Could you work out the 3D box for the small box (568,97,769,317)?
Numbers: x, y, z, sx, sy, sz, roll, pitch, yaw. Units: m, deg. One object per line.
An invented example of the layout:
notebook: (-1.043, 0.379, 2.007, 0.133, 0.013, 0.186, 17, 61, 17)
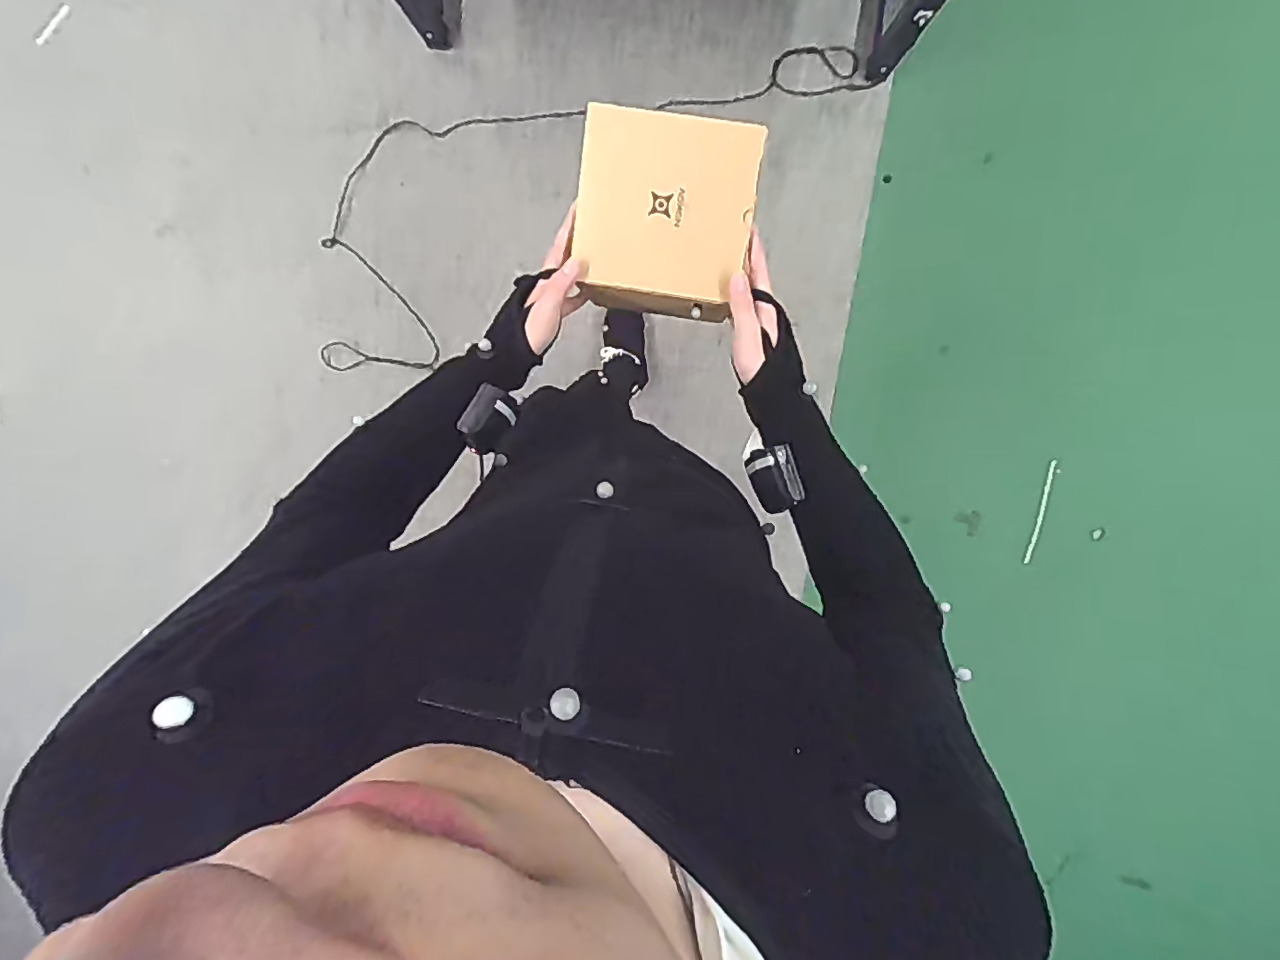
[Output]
small box: (0.028, -0.284, 0.600, 0.179, 0.176, 0.168, 8, 100, 1)
